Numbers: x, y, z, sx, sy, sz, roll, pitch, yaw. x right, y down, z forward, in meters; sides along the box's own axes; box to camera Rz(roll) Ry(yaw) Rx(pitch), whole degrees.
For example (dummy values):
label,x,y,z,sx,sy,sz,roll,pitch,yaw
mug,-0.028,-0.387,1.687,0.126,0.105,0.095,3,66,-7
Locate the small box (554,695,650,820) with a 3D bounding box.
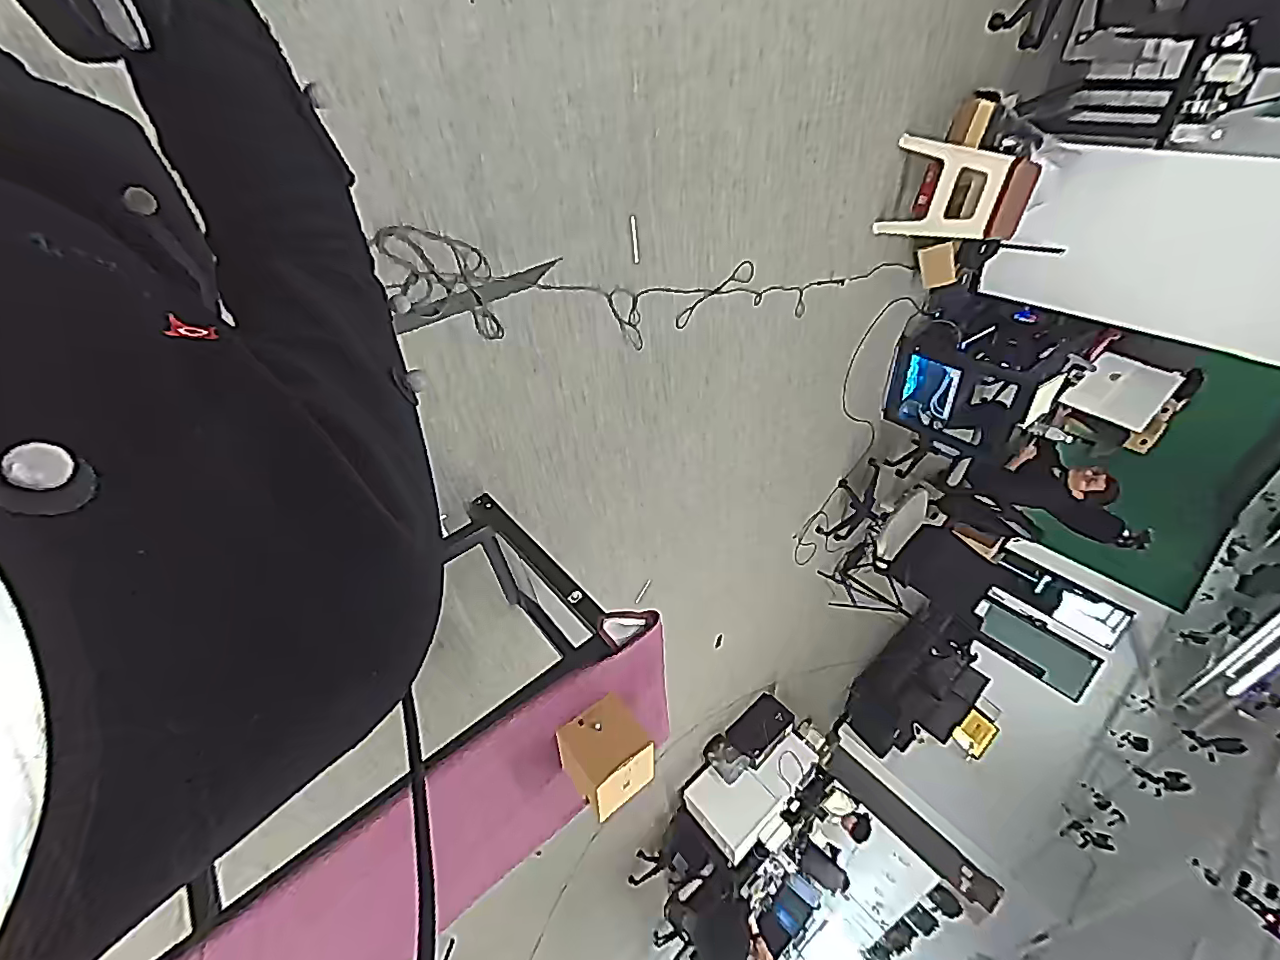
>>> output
label,x,y,z,sx,sy,sz,roll,pitch,yaw
small box,-0.092,0.664,1.309,0.168,0.176,0.179,-26,133,-32
